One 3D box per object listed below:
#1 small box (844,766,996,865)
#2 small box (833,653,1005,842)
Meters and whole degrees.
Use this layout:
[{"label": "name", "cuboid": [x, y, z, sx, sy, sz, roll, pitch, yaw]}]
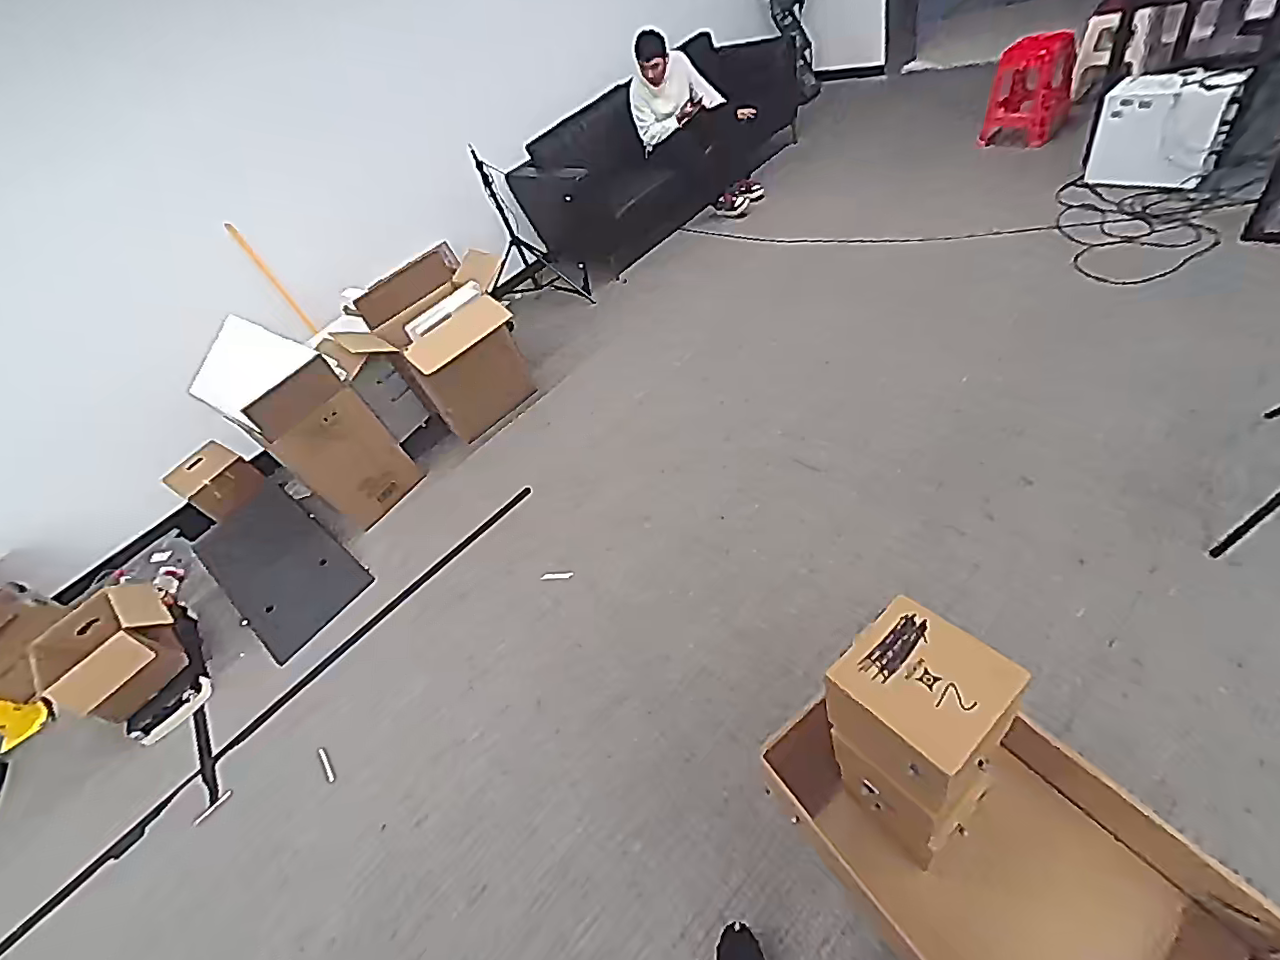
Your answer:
[{"label": "small box", "cuboid": [0.474, 0.527, 0.943, 0.168, 0.176, 0.179, -38, 46, -14]}, {"label": "small box", "cuboid": [0.422, 0.413, 0.838, 0.179, 0.176, 0.168, -39, 45, -17]}]
